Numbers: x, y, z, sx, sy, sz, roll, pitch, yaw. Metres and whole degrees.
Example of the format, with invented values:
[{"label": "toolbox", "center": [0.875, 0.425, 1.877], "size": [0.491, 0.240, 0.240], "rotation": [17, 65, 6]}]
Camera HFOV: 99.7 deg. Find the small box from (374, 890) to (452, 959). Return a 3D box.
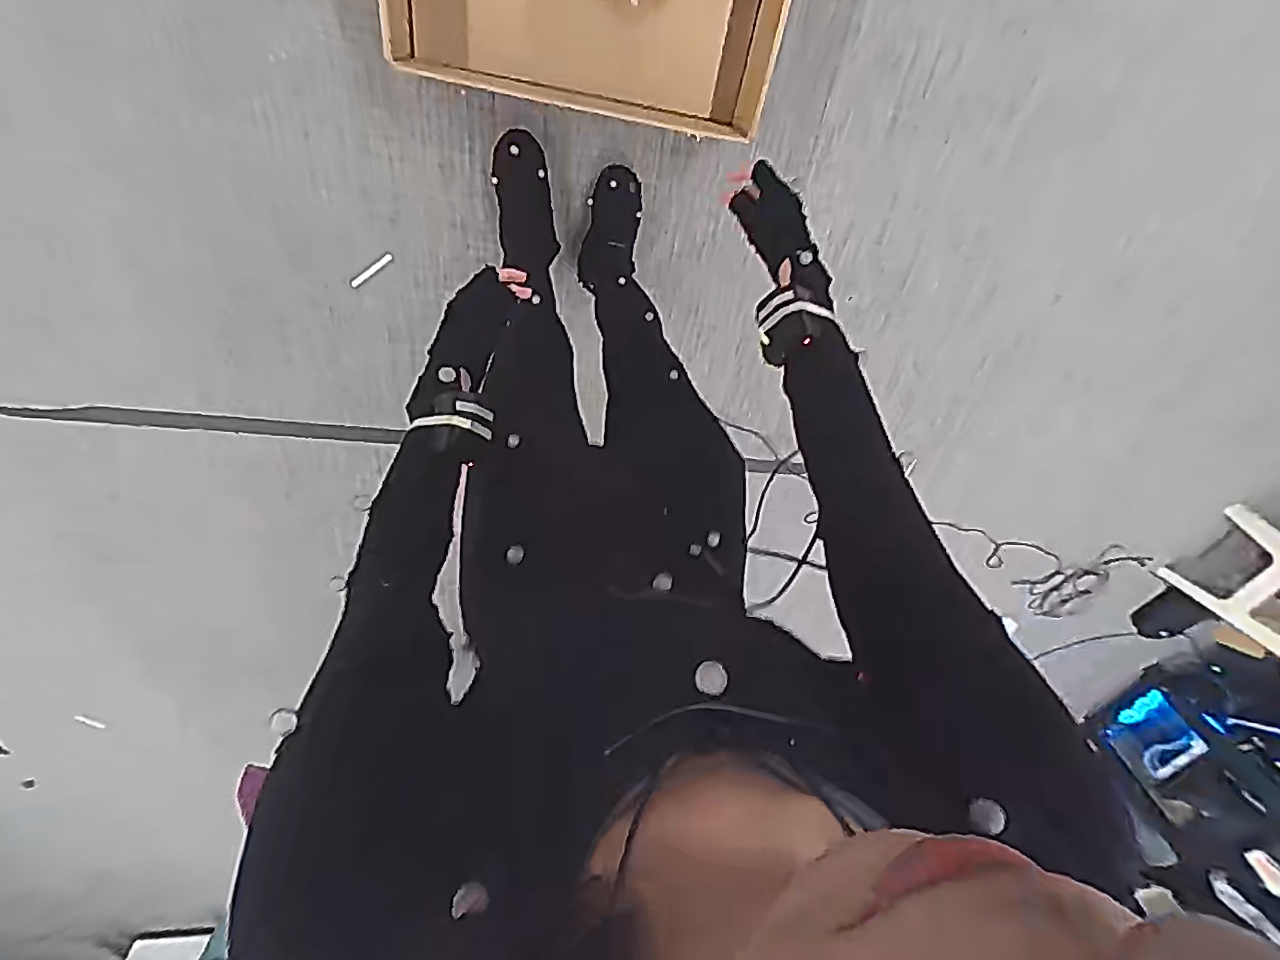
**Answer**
[{"label": "small box", "center": [-0.640, 1.294, 1.539], "size": [0.179, 0.176, 0.168], "rotation": [0, 128, -8]}]
